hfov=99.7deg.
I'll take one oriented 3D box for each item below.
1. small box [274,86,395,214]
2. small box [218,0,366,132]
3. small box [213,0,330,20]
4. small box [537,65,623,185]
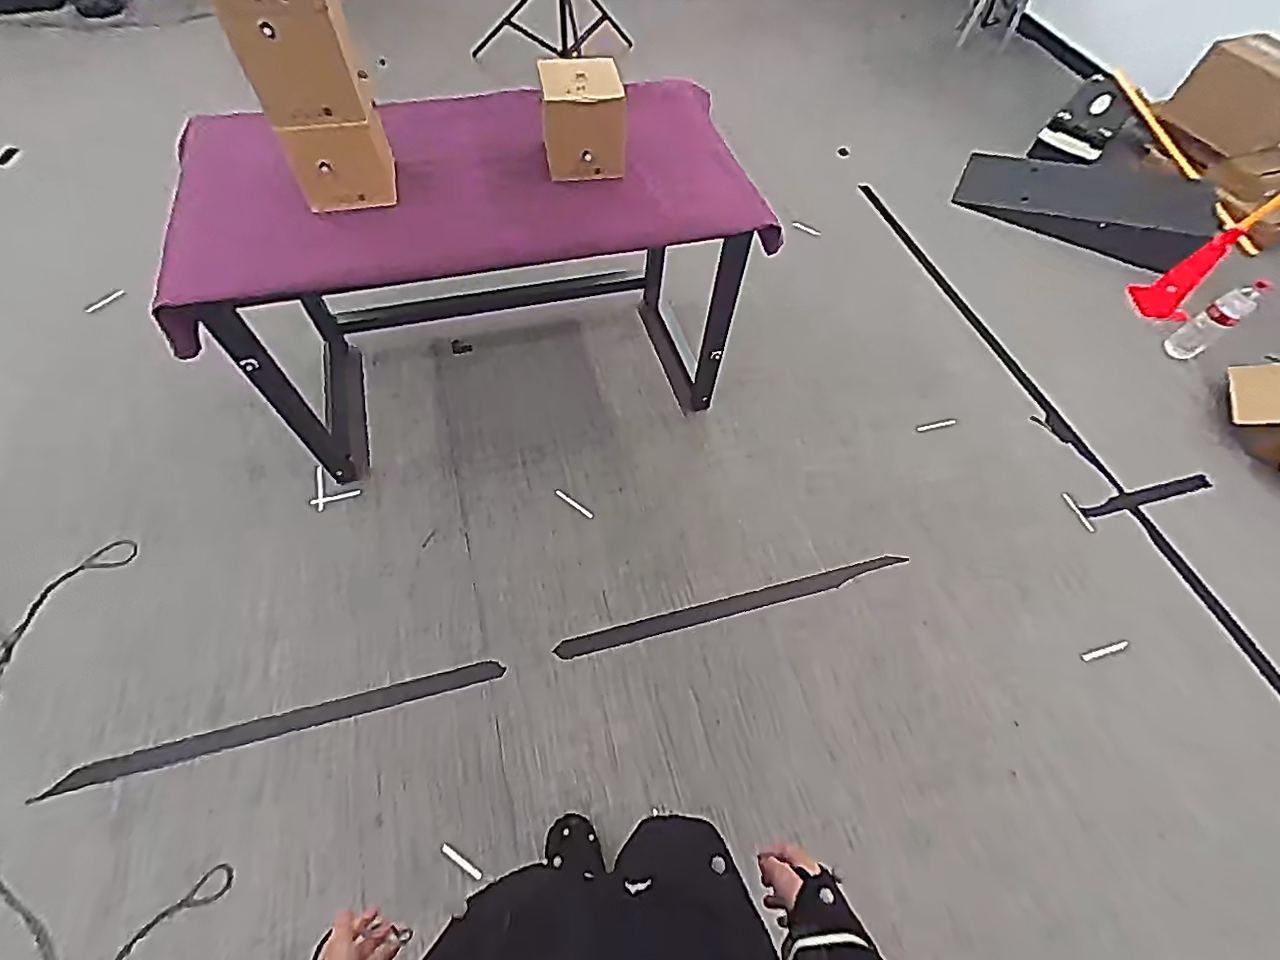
[{"bbox_3d":[-0.611,-0.664,1.100,0.168,0.176,0.179,-12,61,-10],"label":"small box"},{"bbox_3d":[-0.604,-0.753,0.962,0.168,0.176,0.179,-13,60,-11],"label":"small box"},{"bbox_3d":[-0.590,-0.836,0.820,0.168,0.176,0.179,-12,61,-10],"label":"small box"},{"bbox_3d":[-0.133,-0.786,1.202,0.168,0.176,0.179,-8,60,-8],"label":"small box"}]
